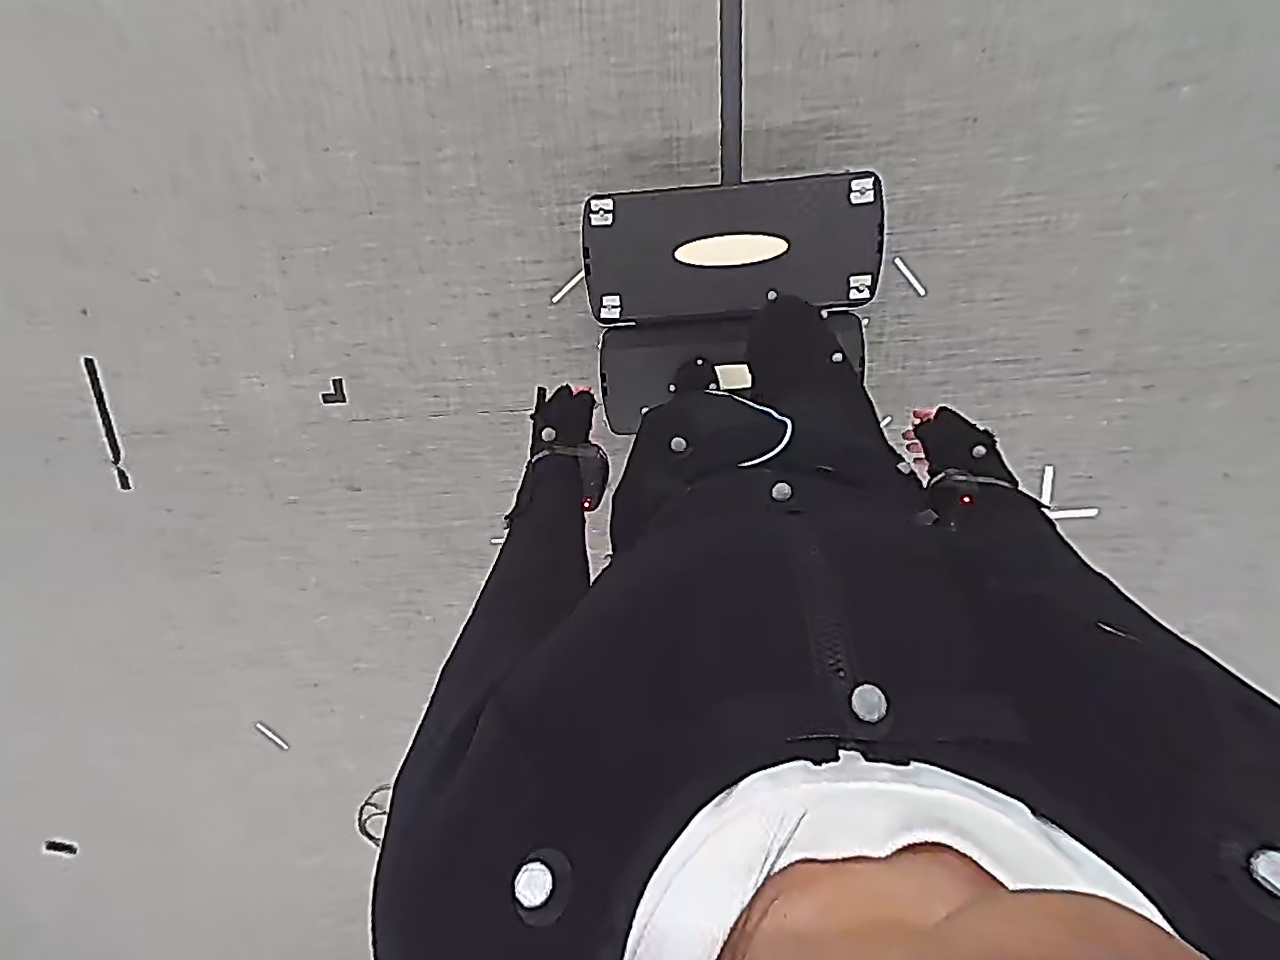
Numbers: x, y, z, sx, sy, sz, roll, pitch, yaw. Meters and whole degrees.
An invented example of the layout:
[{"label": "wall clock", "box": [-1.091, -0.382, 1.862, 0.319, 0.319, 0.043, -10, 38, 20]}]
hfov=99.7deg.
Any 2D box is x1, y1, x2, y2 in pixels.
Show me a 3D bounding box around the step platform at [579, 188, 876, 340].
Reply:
[{"label": "step platform", "box": [0.197, -0.506, 1.300, 0.684, 0.204, 0.286, -4, 106, 4]}]
